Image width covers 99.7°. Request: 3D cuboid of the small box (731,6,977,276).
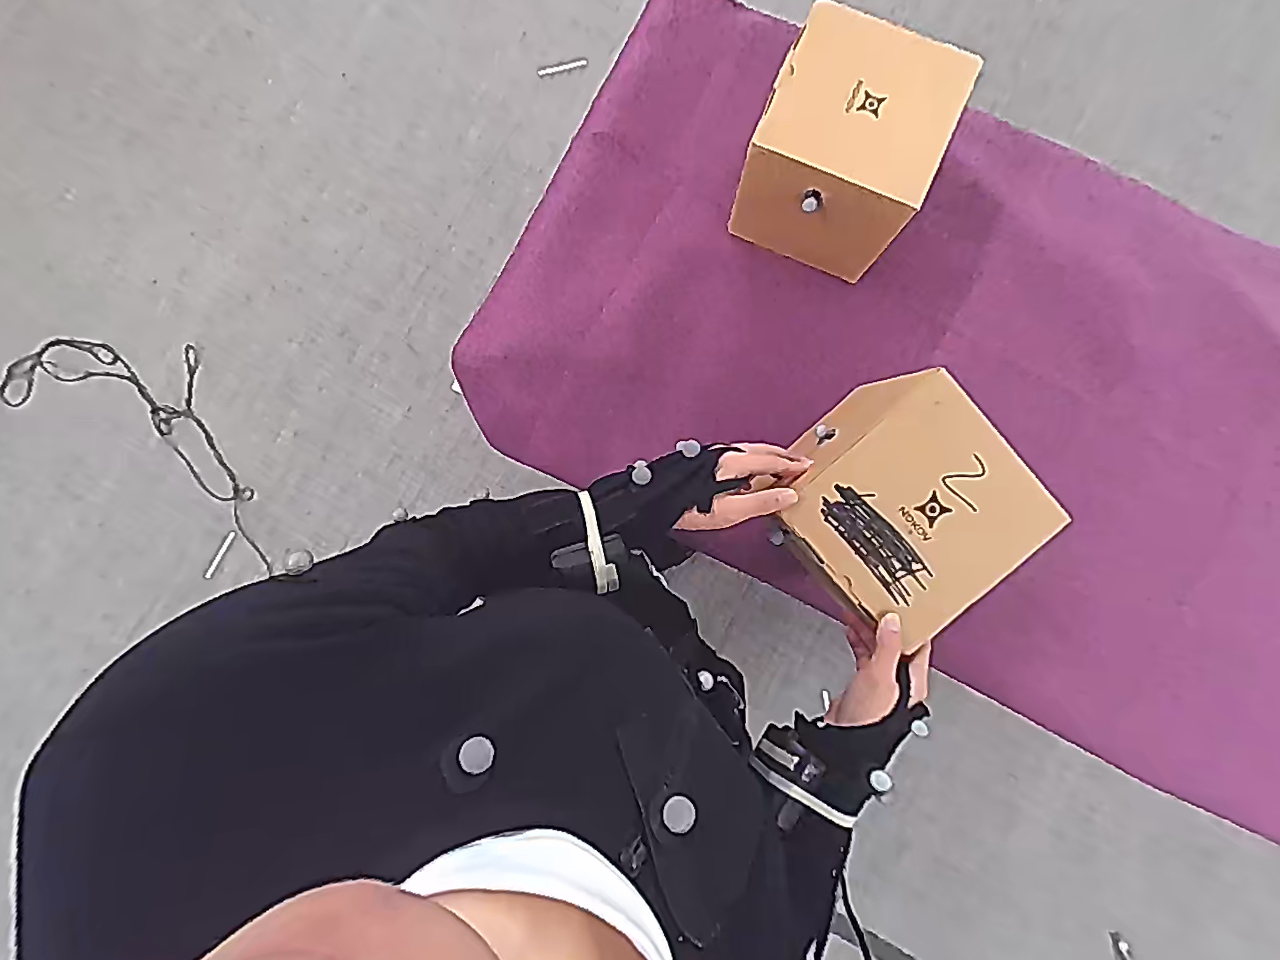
[{"bbox_3d":[0.220,-0.357,0.607,0.179,0.176,0.168,24,87,4],"label":"small box"}]
